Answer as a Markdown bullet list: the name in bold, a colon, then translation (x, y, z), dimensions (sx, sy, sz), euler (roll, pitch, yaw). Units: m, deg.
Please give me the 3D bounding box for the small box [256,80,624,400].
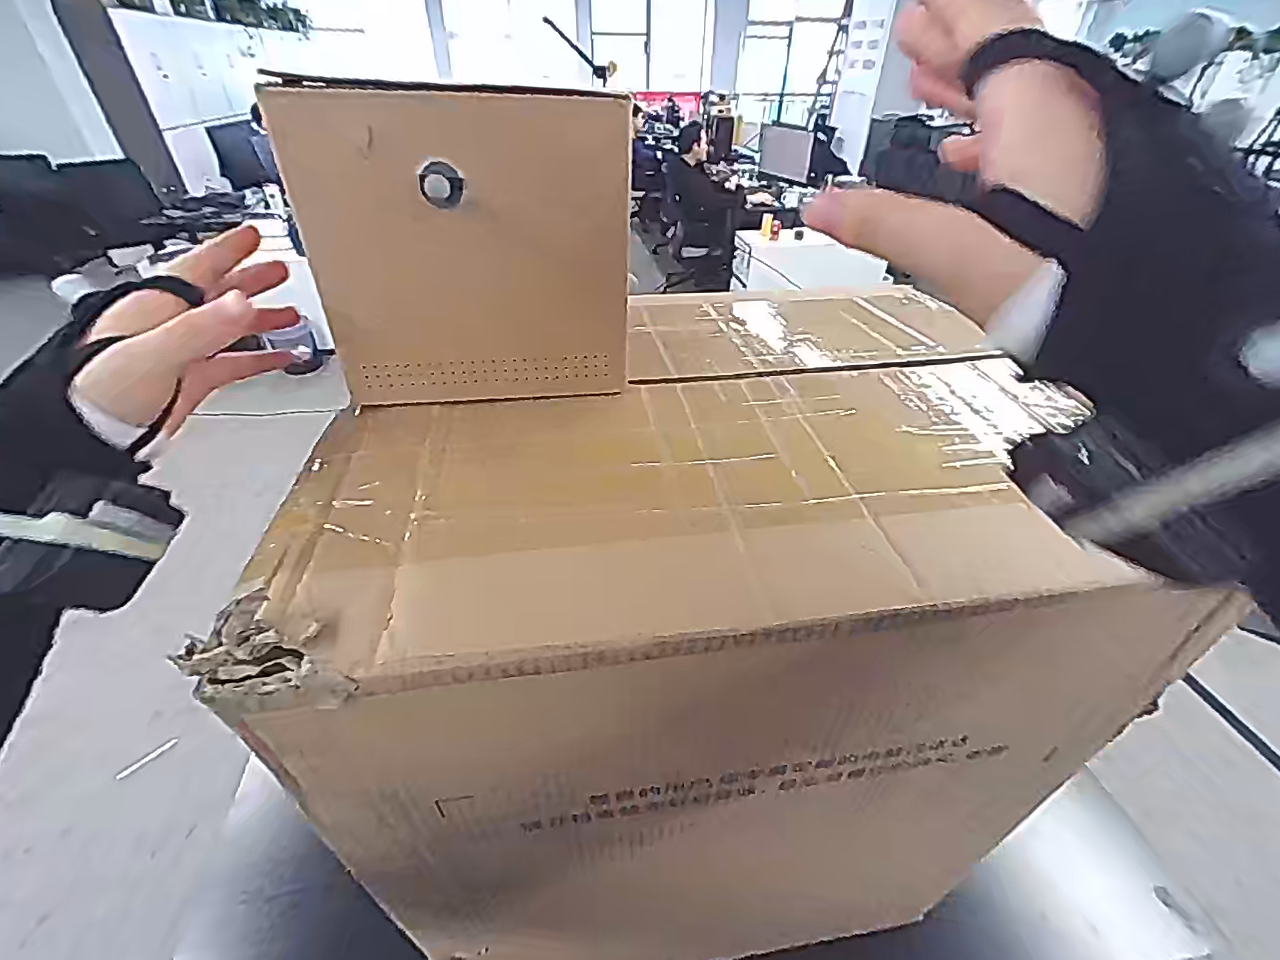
- **small box**: translation (-0.106, -0.163, 0.369), dimensions (0.179, 0.176, 0.168), euler (-4, 35, -9)
